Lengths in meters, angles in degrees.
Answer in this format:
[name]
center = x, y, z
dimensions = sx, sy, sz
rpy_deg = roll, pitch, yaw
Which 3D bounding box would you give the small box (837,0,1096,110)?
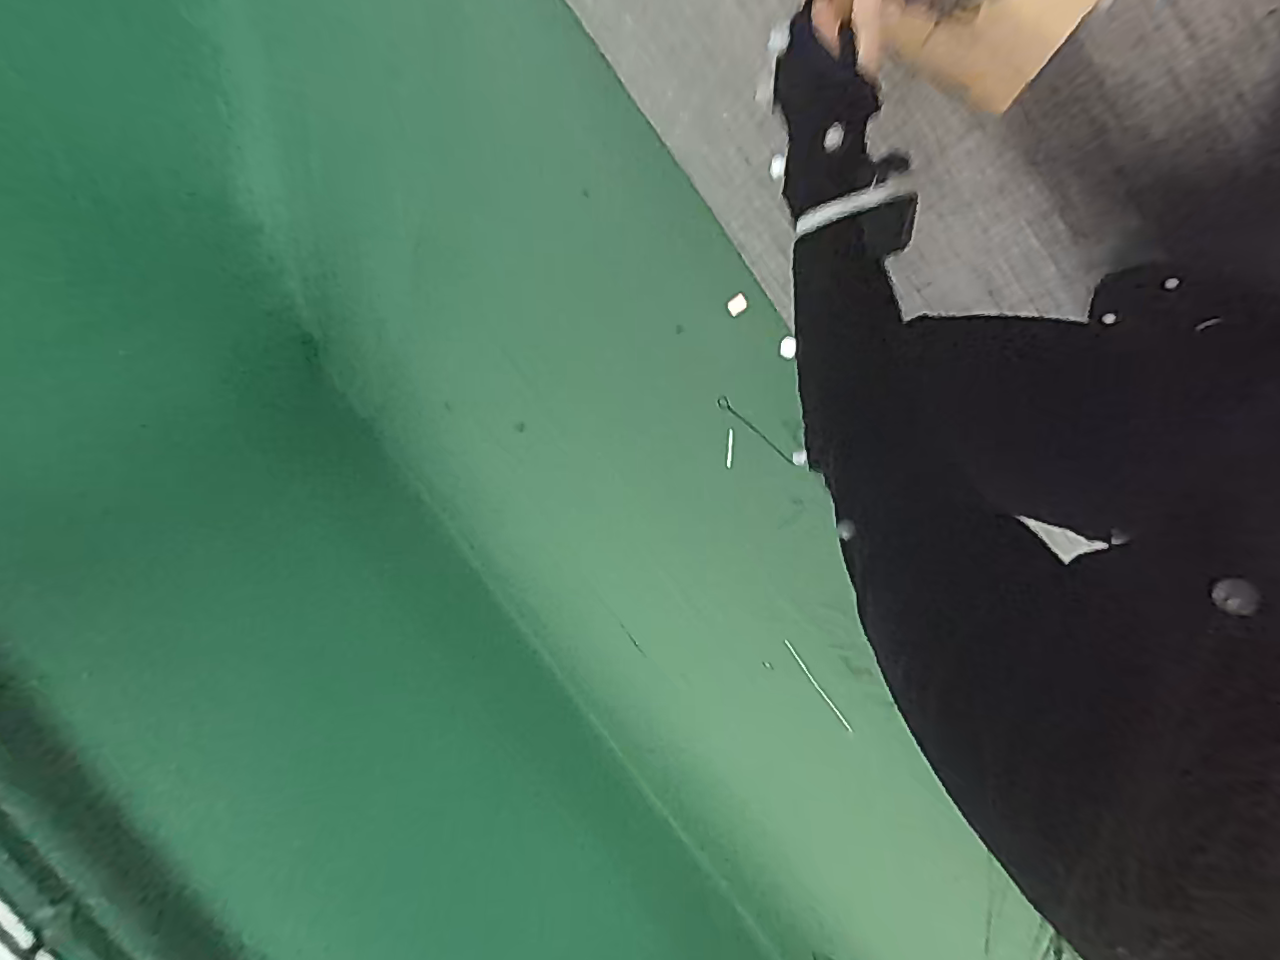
[small box]
center = 0.267, -0.413, 0.376
dimensions = 0.168, 0.176, 0.179
rpy_deg = 34, 145, -1
